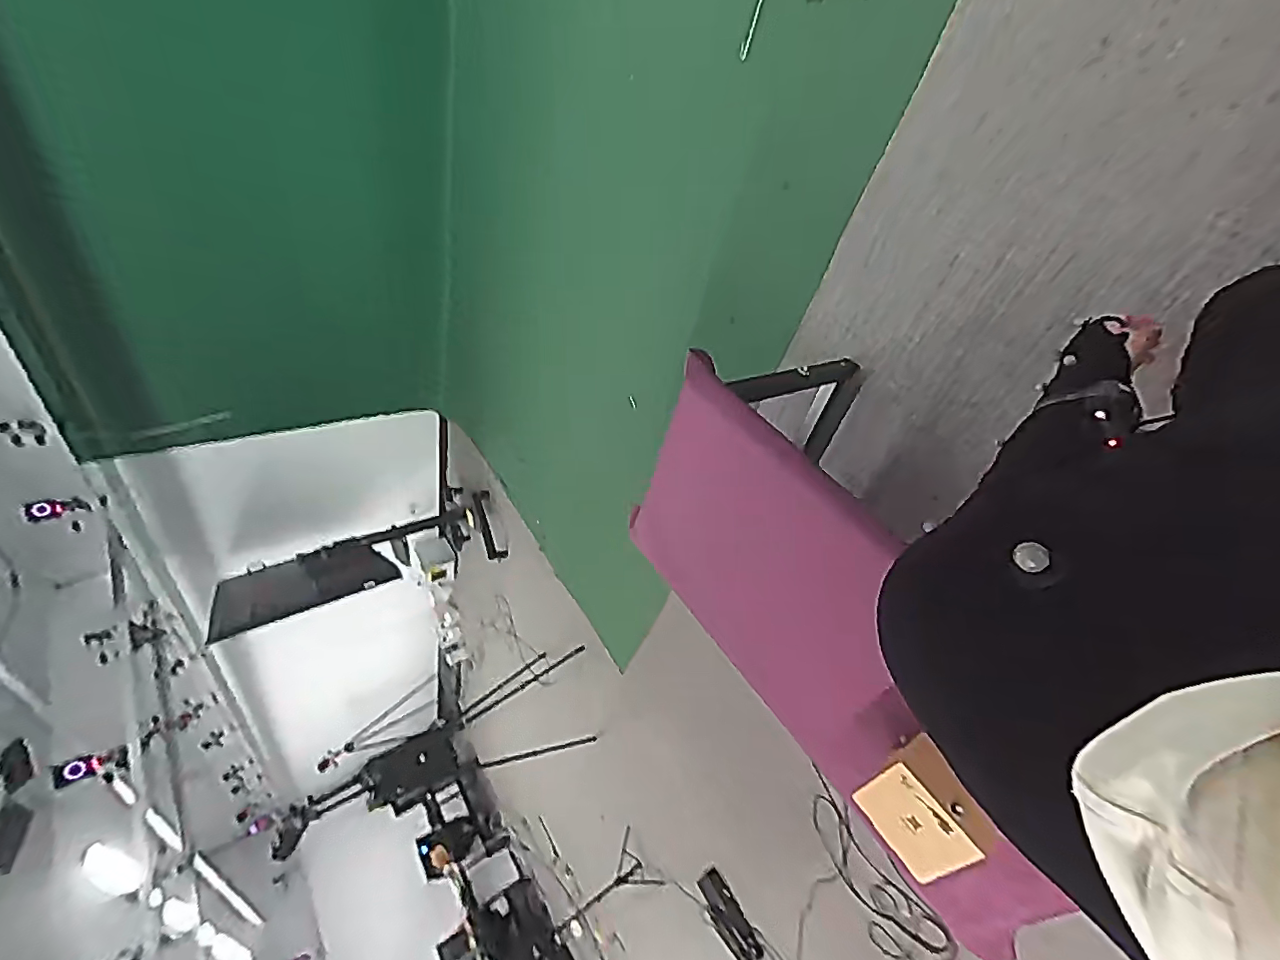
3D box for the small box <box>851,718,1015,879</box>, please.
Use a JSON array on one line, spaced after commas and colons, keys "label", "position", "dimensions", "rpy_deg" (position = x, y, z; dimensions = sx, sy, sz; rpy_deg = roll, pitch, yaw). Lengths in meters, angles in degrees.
[{"label": "small box", "position": [0.532, 0.573, 0.984], "dimensions": [0.168, 0.176, 0.179], "rpy_deg": [49, 138, 31]}]
